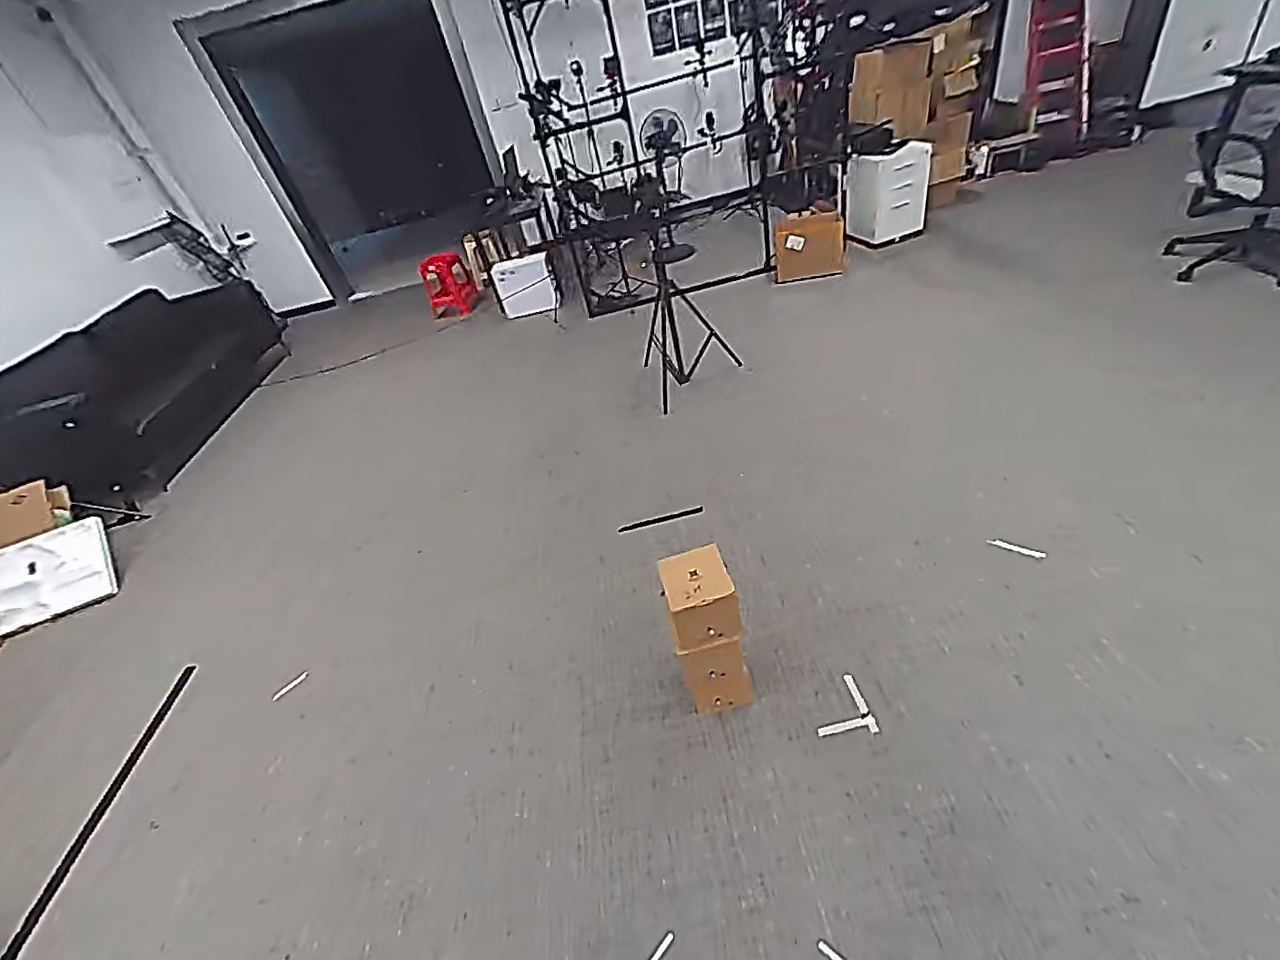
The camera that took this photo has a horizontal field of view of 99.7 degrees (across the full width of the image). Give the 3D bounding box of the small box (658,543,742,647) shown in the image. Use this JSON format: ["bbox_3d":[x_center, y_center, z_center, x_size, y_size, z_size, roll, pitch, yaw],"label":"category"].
[{"bbox_3d":[0.155,0.300,1.408,0.168,0.176,0.179,-17,39,-1],"label":"small box"}]

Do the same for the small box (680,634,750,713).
[{"bbox_3d":[0.222,0.556,1.605,0.168,0.176,0.179,-15,38,1],"label":"small box"}]
